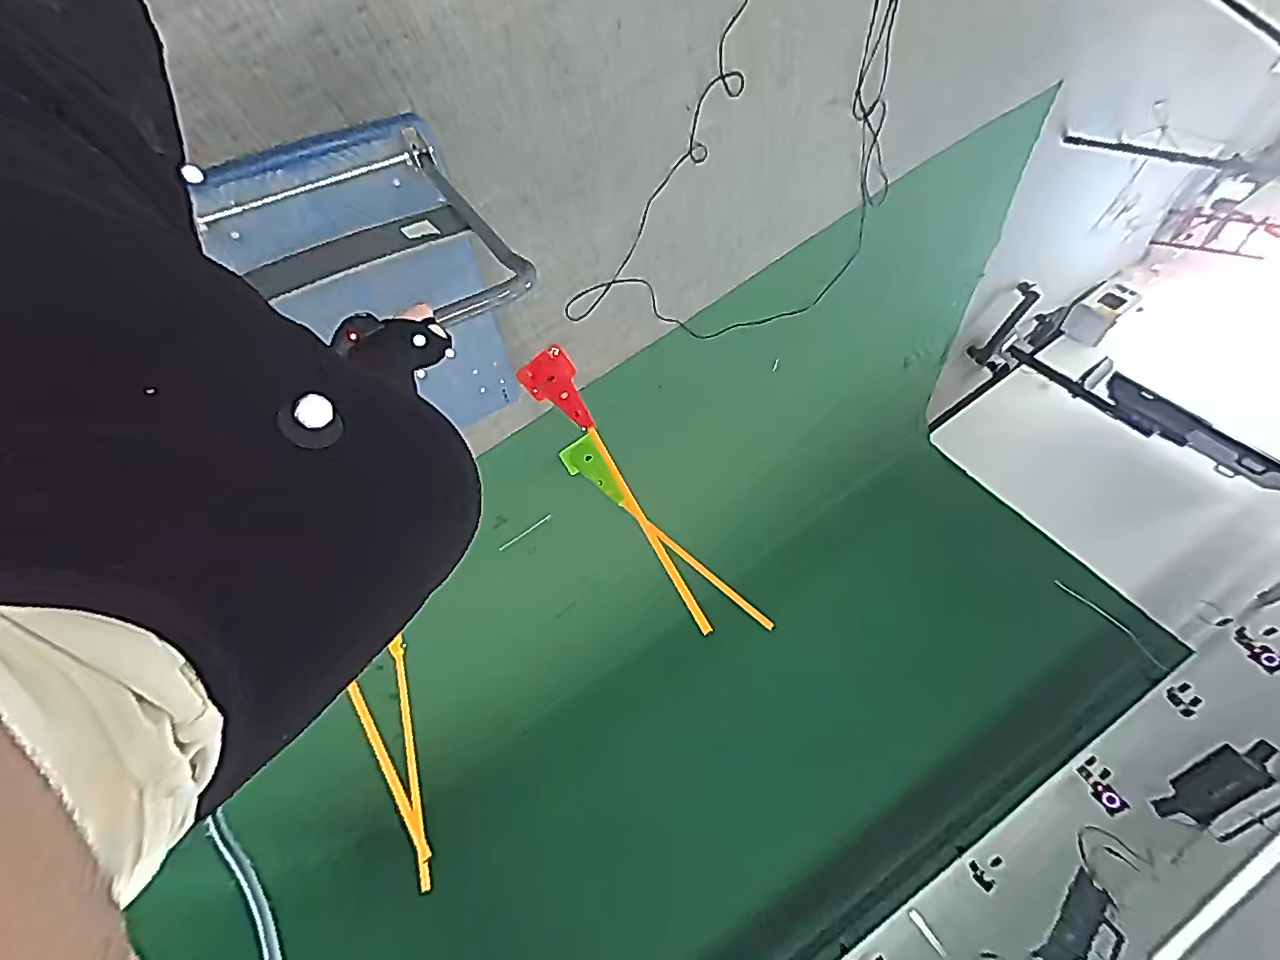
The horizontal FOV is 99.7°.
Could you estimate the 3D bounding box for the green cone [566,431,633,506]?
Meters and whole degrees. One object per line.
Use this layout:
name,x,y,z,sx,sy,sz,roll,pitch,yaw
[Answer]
green cone,-0.151,-0.016,2.459,0.200,0.368,0.202,-36,150,-7
